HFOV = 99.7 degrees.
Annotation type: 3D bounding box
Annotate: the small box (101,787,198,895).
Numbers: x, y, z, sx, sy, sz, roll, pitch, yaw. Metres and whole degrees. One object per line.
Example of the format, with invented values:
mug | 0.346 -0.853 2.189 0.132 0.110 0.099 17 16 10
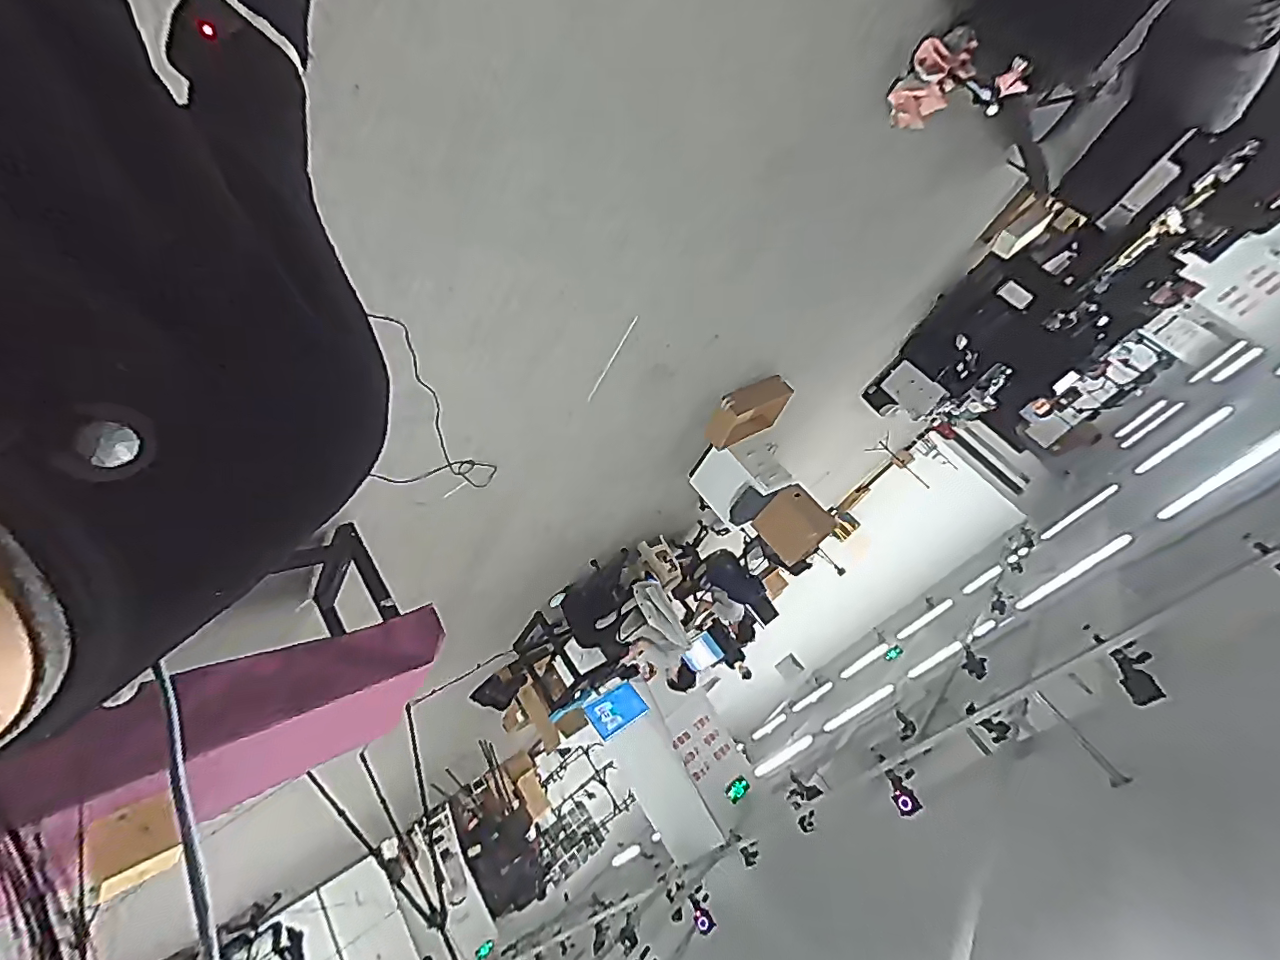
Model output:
small box | -1.375 0.999 1.512 0.168 0.176 0.179 -9 145 -52
